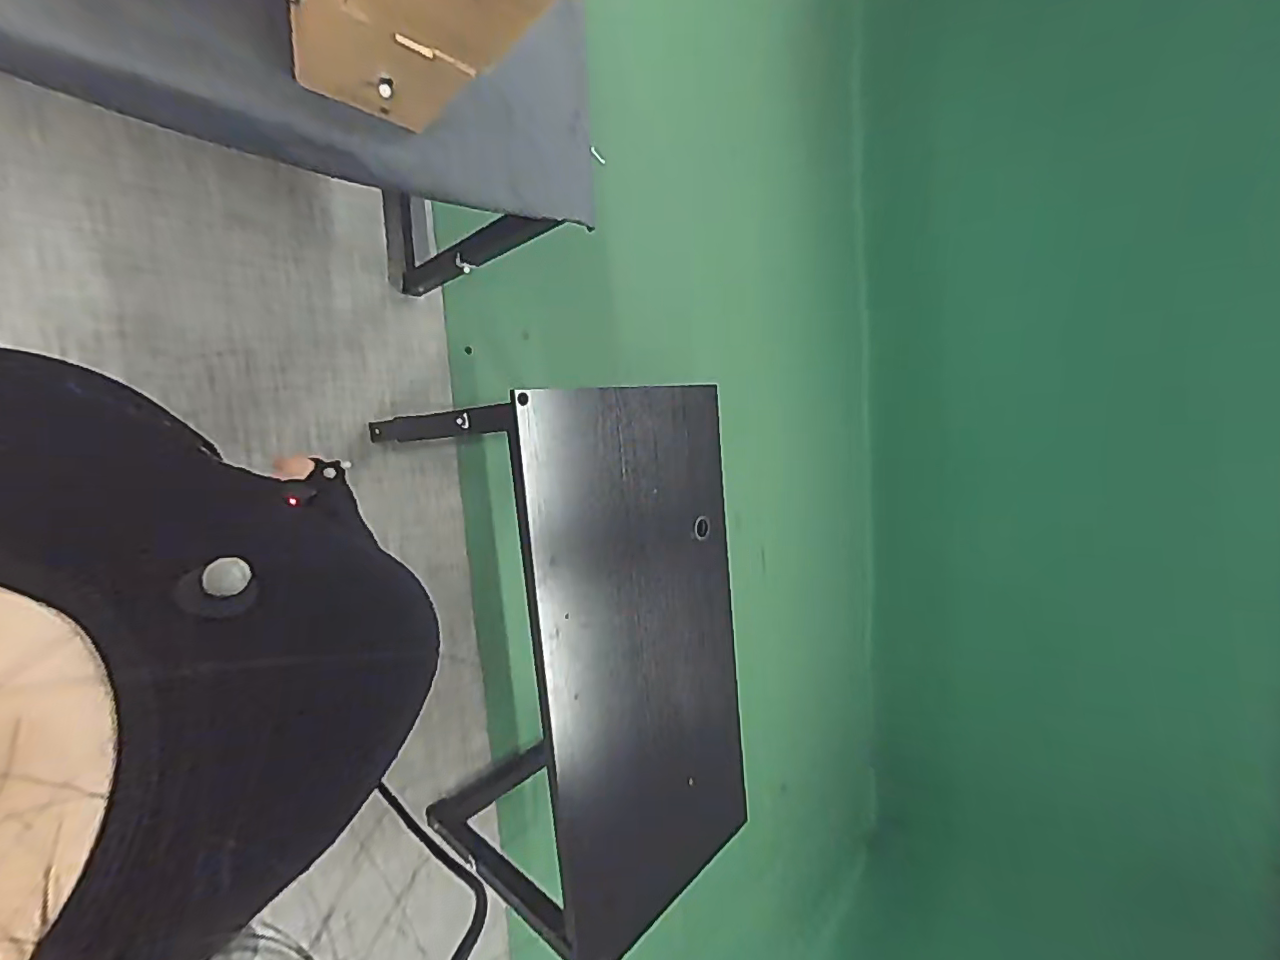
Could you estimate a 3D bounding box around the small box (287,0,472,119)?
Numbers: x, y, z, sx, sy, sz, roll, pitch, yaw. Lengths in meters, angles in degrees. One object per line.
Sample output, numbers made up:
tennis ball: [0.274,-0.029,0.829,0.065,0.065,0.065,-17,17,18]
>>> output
small box: [-0.328,-0.601,0.679,0.168,0.176,0.179,-5,95,-45]

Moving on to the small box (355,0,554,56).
small box: [-0.205,-0.601,0.572,0.179,0.176,0.168,-8,96,-45]
